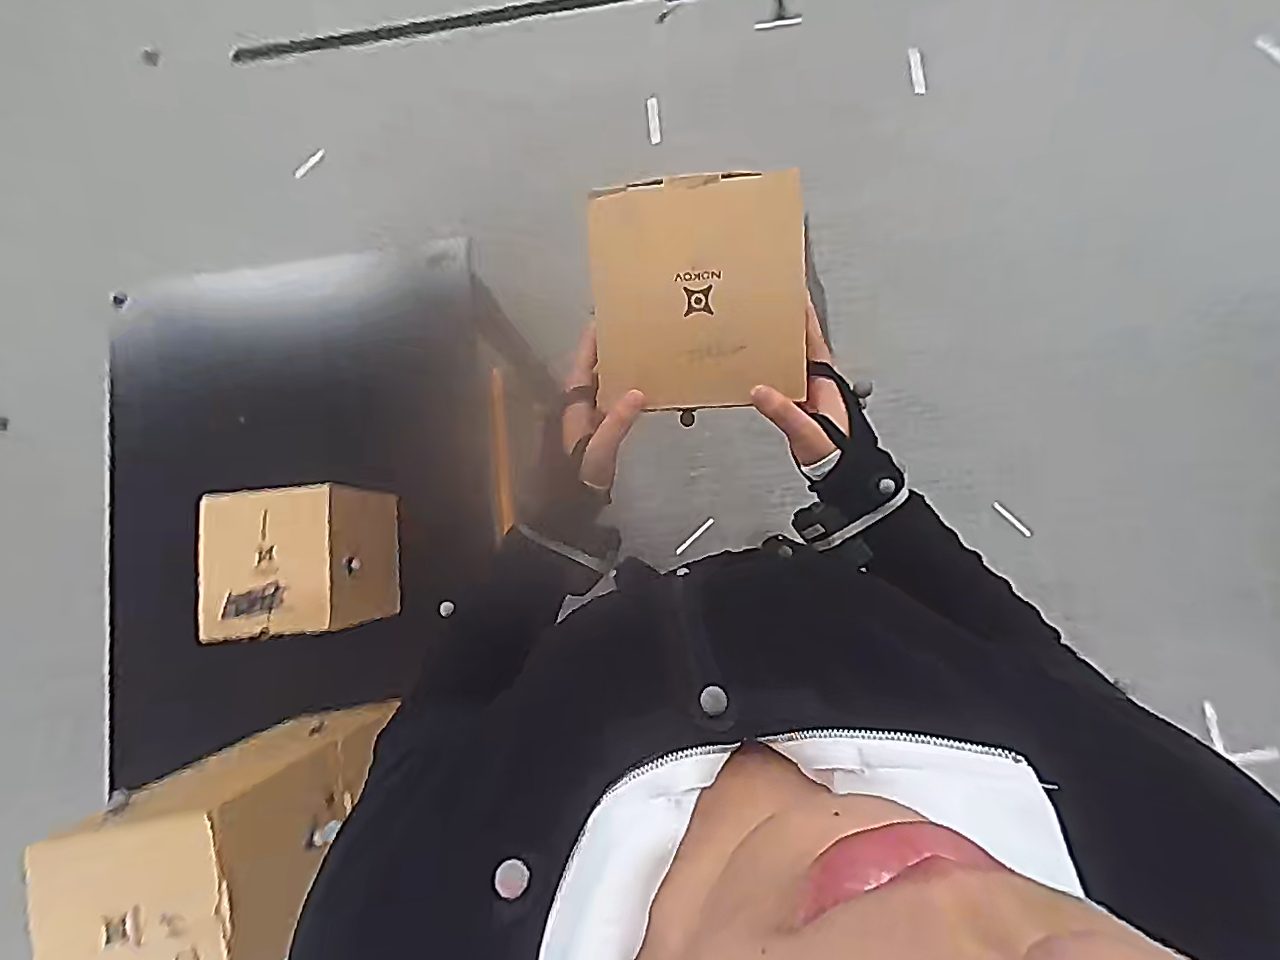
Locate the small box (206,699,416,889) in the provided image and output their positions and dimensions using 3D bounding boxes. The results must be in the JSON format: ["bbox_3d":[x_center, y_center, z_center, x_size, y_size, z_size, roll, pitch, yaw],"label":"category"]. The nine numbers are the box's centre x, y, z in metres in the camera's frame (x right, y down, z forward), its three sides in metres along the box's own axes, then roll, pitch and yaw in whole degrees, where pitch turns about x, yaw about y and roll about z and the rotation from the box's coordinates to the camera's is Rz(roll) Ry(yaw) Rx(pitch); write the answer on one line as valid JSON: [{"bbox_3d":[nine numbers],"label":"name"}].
[{"bbox_3d":[-0.410,0.402,0.702,0.179,0.176,0.168,-11,84,2],"label":"small box"}]

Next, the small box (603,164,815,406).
[{"bbox_3d":[0.061,-0.160,0.501,0.168,0.176,0.179,-2,98,6],"label":"small box"}]

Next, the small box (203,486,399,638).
[{"bbox_3d":[-0.448,0.108,0.739,0.168,0.176,0.179,-6,82,3],"label":"small box"}]

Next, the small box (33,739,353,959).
[{"bbox_3d":[-0.425,0.383,0.538,0.179,0.176,0.168,-13,83,2],"label":"small box"}]
